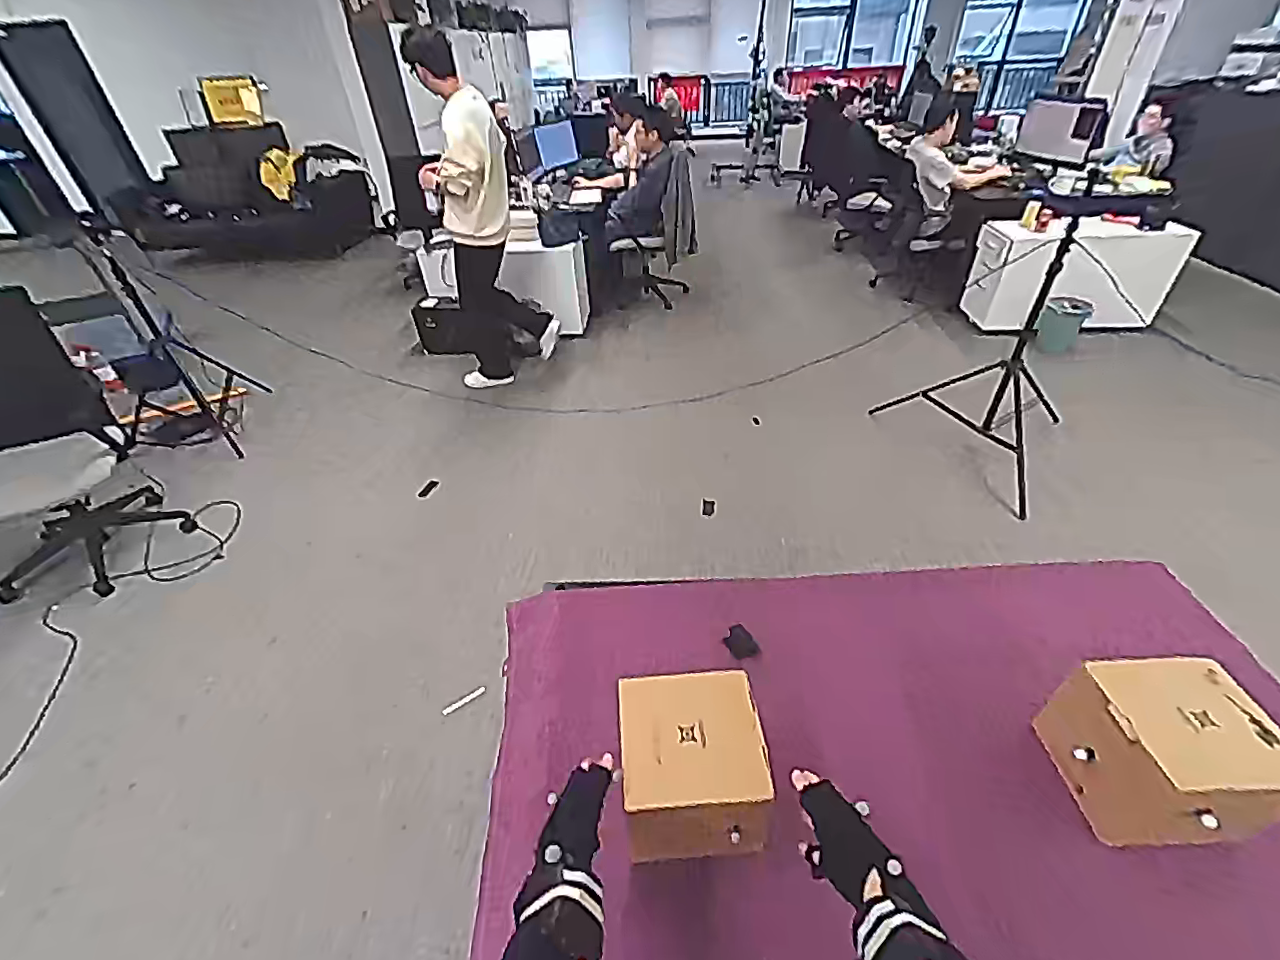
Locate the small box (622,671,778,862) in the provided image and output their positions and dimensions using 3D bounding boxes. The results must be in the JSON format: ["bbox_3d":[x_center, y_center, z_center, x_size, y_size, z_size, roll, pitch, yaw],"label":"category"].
[{"bbox_3d":[0.069,0.379,0.717,0.179,0.176,0.168,-5,37,-1],"label":"small box"}]

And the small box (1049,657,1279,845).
[{"bbox_3d":[0.679,0.353,0.703,0.179,0.176,0.168,-3,38,2],"label":"small box"}]
